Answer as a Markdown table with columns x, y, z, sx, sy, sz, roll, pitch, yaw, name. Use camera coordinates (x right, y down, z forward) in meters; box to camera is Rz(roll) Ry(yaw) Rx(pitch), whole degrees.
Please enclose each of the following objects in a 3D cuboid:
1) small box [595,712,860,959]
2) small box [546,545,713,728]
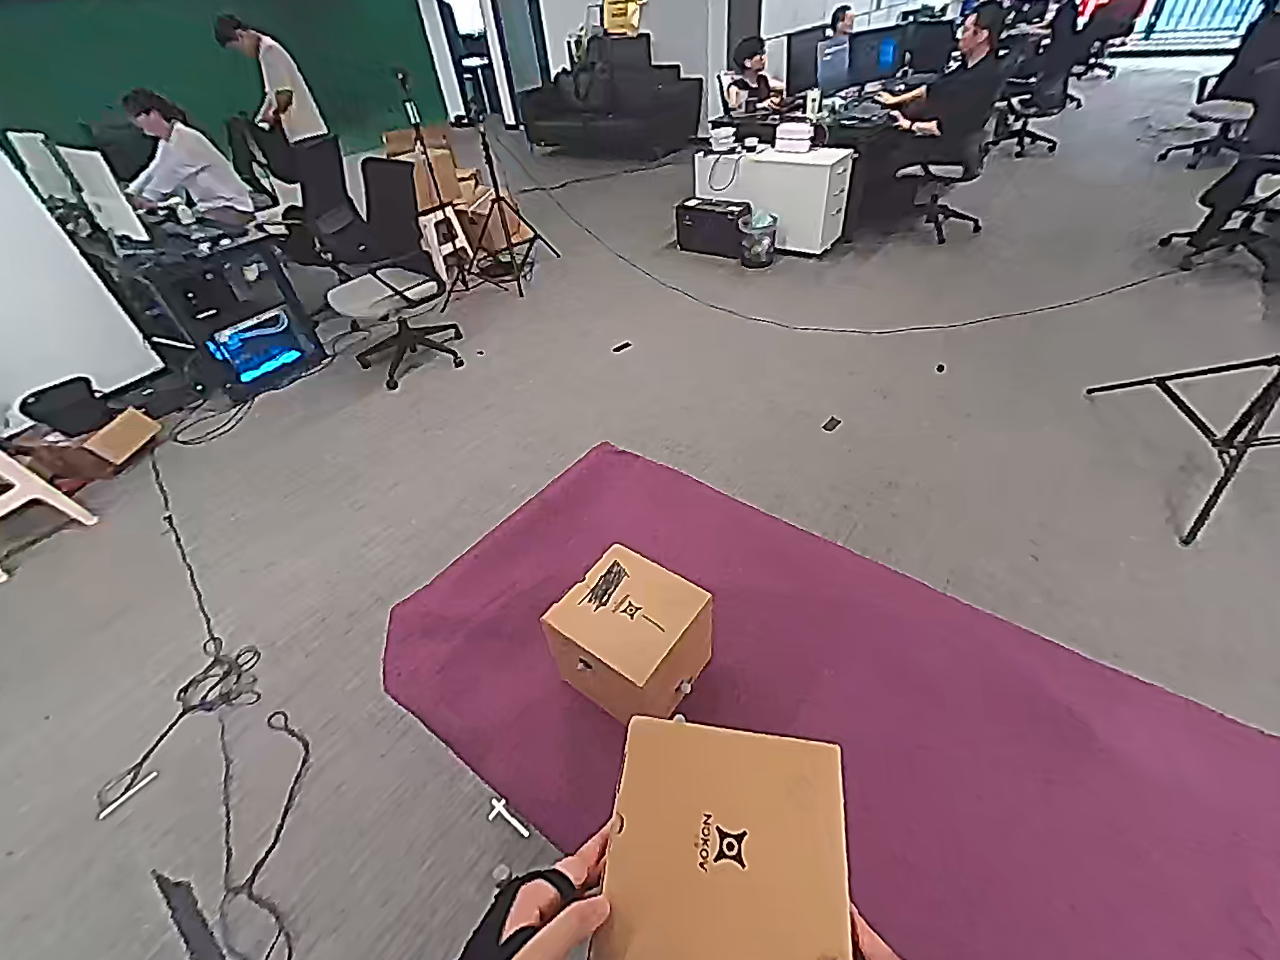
| x | y | z | sx | sy | sz | roll | pitch | yaw | name |
| --- | --- | --- | --- | --- | --- | --- | --- | --- | --- |
| 0.078 | 0.319 | 0.461 | 0.179 | 0.176 | 0.168 | 2 | 49 | 13 | small box |
| -0.009 | 0.233 | 0.796 | 0.179 | 0.176 | 0.168 | 25 | 51 | 29 | small box |
